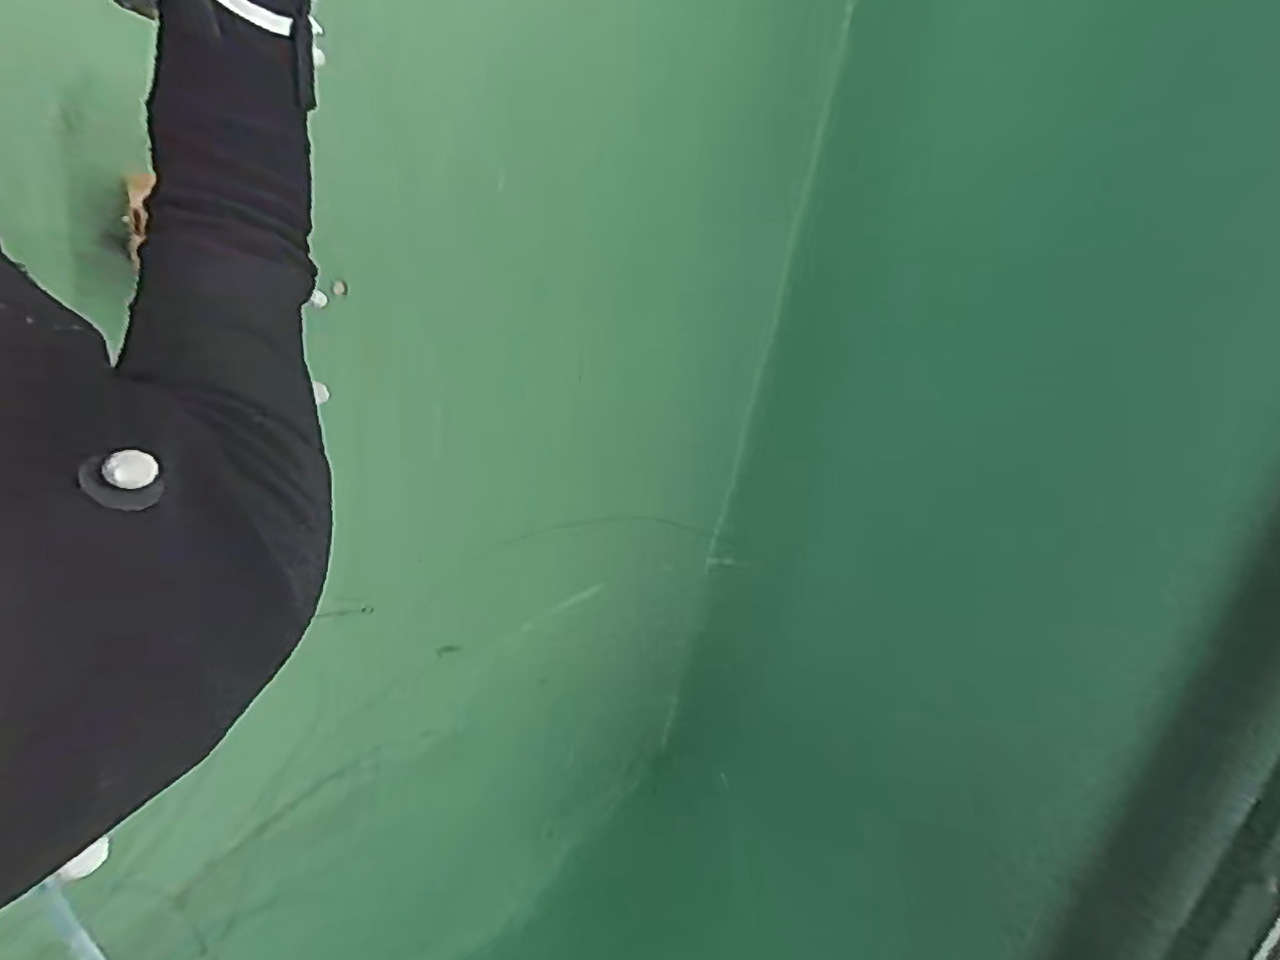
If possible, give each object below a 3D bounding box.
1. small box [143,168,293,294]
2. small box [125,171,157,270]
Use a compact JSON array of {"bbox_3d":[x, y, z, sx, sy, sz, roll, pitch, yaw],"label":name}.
[{"bbox_3d":[-0.746,-0.439,0.961,0.179,0.176,0.168,-9,115,-49],"label":"small box"},{"bbox_3d":[-0.870,-0.485,1.056,0.179,0.176,0.168,-7,112,-51],"label":"small box"}]
